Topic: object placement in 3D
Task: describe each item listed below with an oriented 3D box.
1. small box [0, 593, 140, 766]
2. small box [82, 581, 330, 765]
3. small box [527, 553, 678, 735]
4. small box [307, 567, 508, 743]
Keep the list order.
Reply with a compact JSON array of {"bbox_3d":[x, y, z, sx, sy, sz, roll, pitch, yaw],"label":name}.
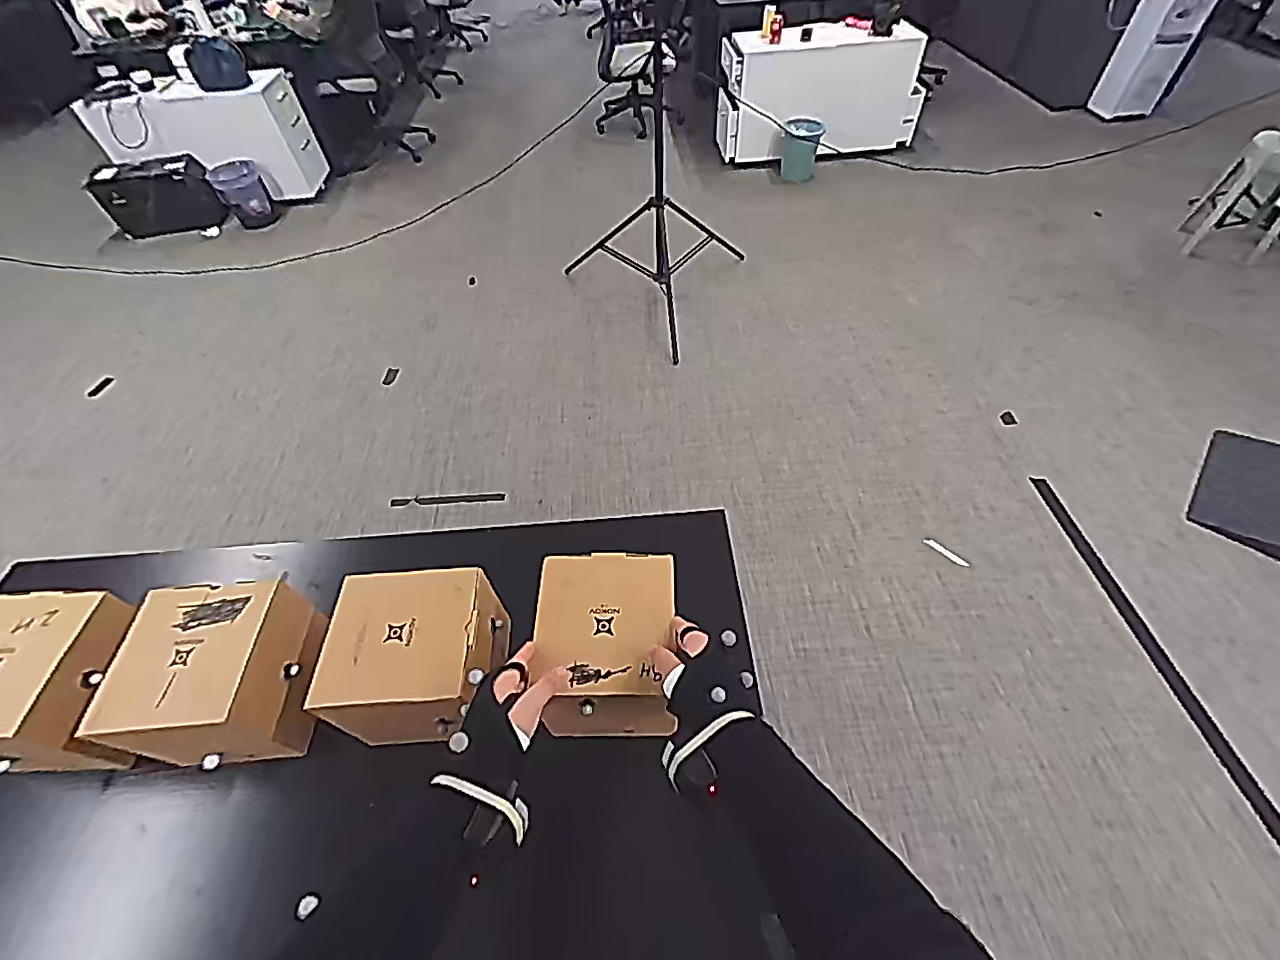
[{"bbox_3d":[-0.751,0.264,0.703,0.168,0.176,0.179,-2,51,1],"label":"small box"},{"bbox_3d":[-0.527,0.251,0.699,0.168,0.176,0.179,-5,53,-1],"label":"small box"},{"bbox_3d":[-0.038,0.212,0.696,0.168,0.176,0.179,-1,50,2],"label":"small box"},{"bbox_3d":[-0.279,0.230,0.703,0.179,0.176,0.168,-5,50,0],"label":"small box"}]
